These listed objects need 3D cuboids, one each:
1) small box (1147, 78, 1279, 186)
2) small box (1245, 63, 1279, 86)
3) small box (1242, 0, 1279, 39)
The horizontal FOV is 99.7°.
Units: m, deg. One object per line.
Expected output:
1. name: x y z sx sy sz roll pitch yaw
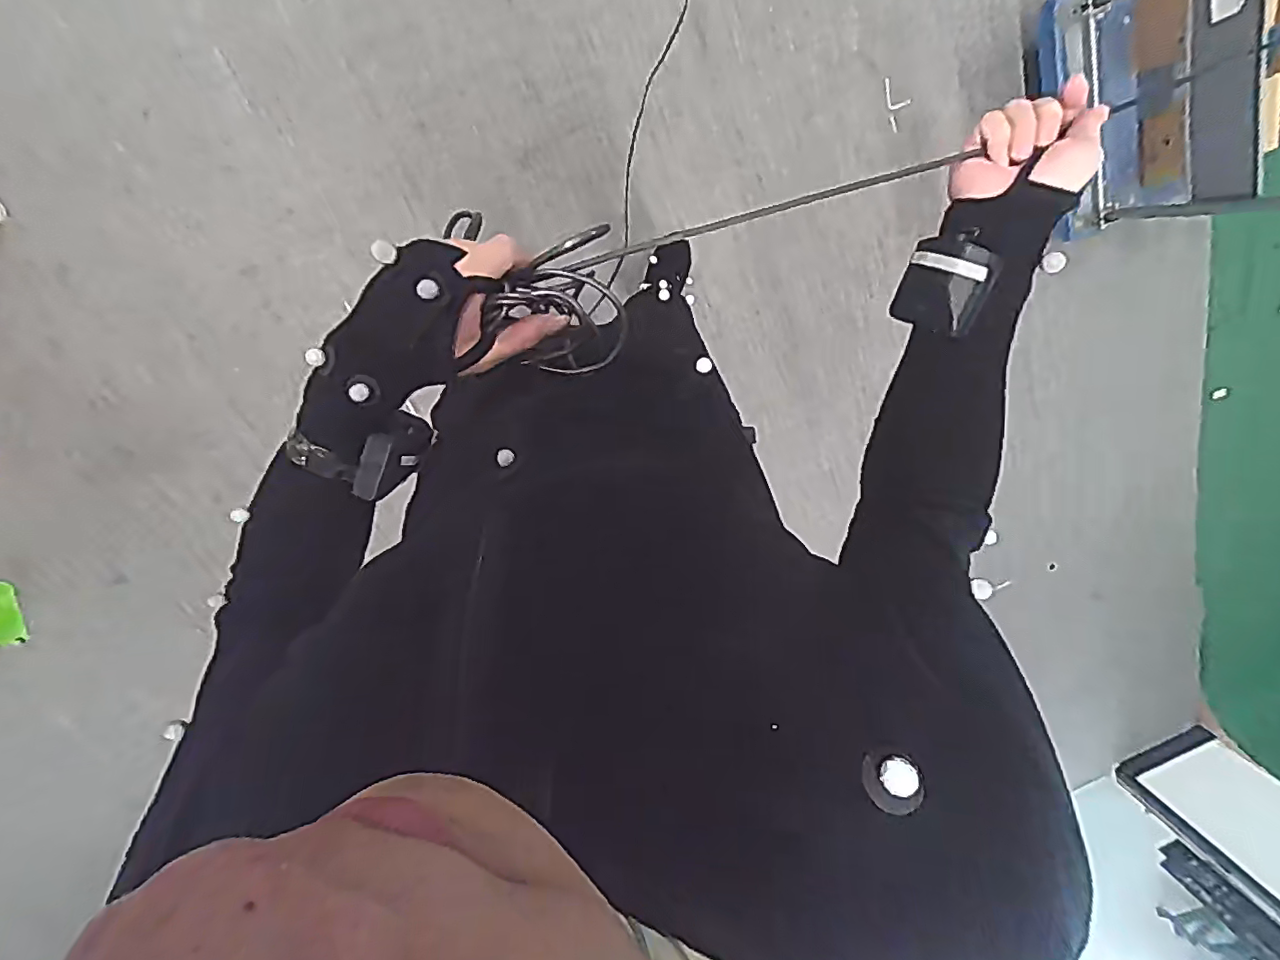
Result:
1. small box: 1.422 -0.857 1.341 0.179 0.176 0.168 -23 113 0
2. small box: 1.668 -0.969 1.341 0.179 0.176 0.168 -28 112 2
3. small box: 1.555 -1.172 1.245 0.179 0.176 0.168 -28 113 1
